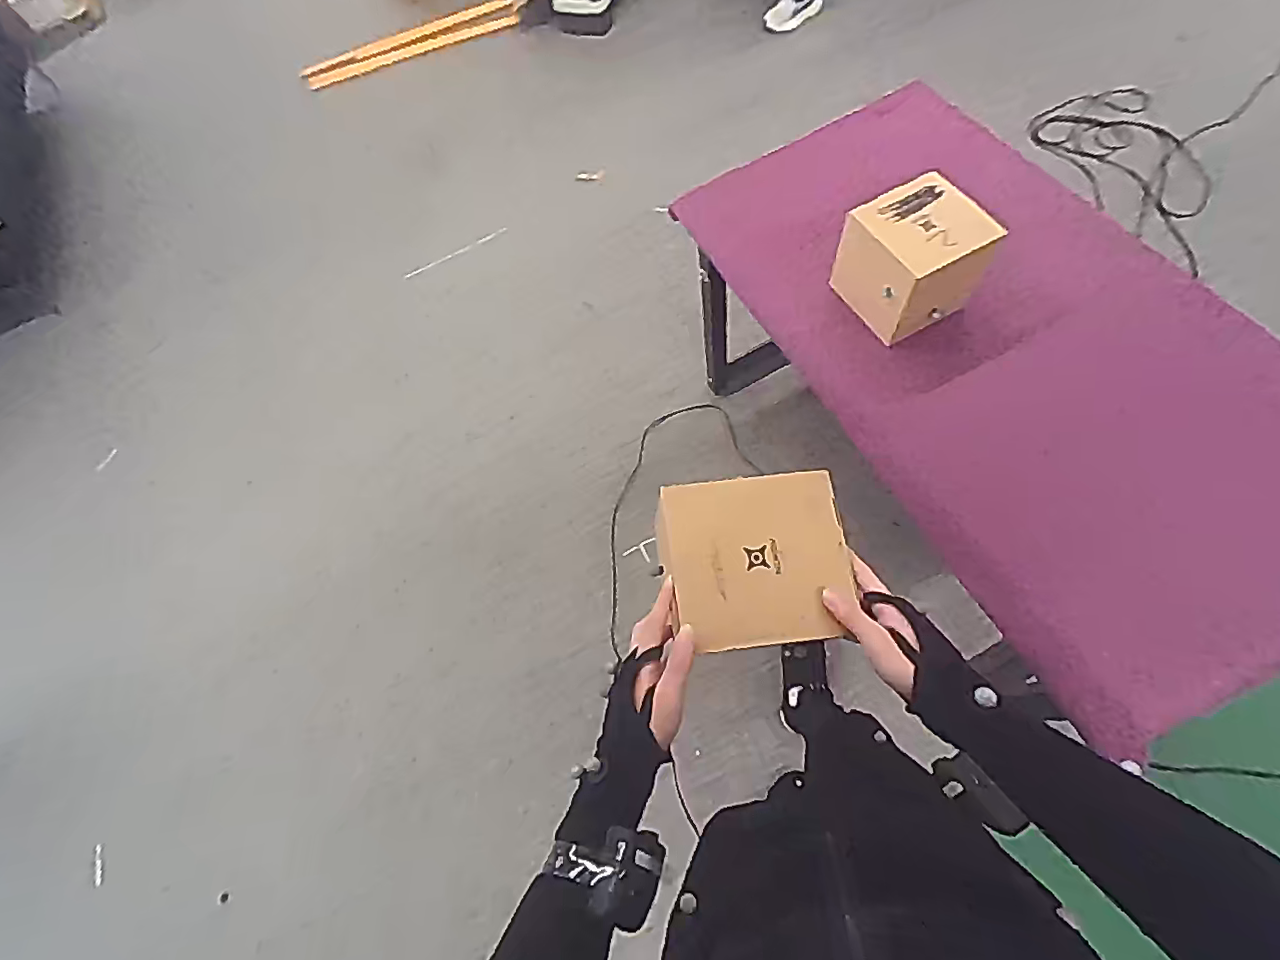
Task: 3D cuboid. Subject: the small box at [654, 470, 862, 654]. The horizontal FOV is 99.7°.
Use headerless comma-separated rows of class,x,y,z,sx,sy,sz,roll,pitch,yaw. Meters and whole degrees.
small box,0.113,0.099,0.600,0.179,0.176,0.168,-6,71,-3
